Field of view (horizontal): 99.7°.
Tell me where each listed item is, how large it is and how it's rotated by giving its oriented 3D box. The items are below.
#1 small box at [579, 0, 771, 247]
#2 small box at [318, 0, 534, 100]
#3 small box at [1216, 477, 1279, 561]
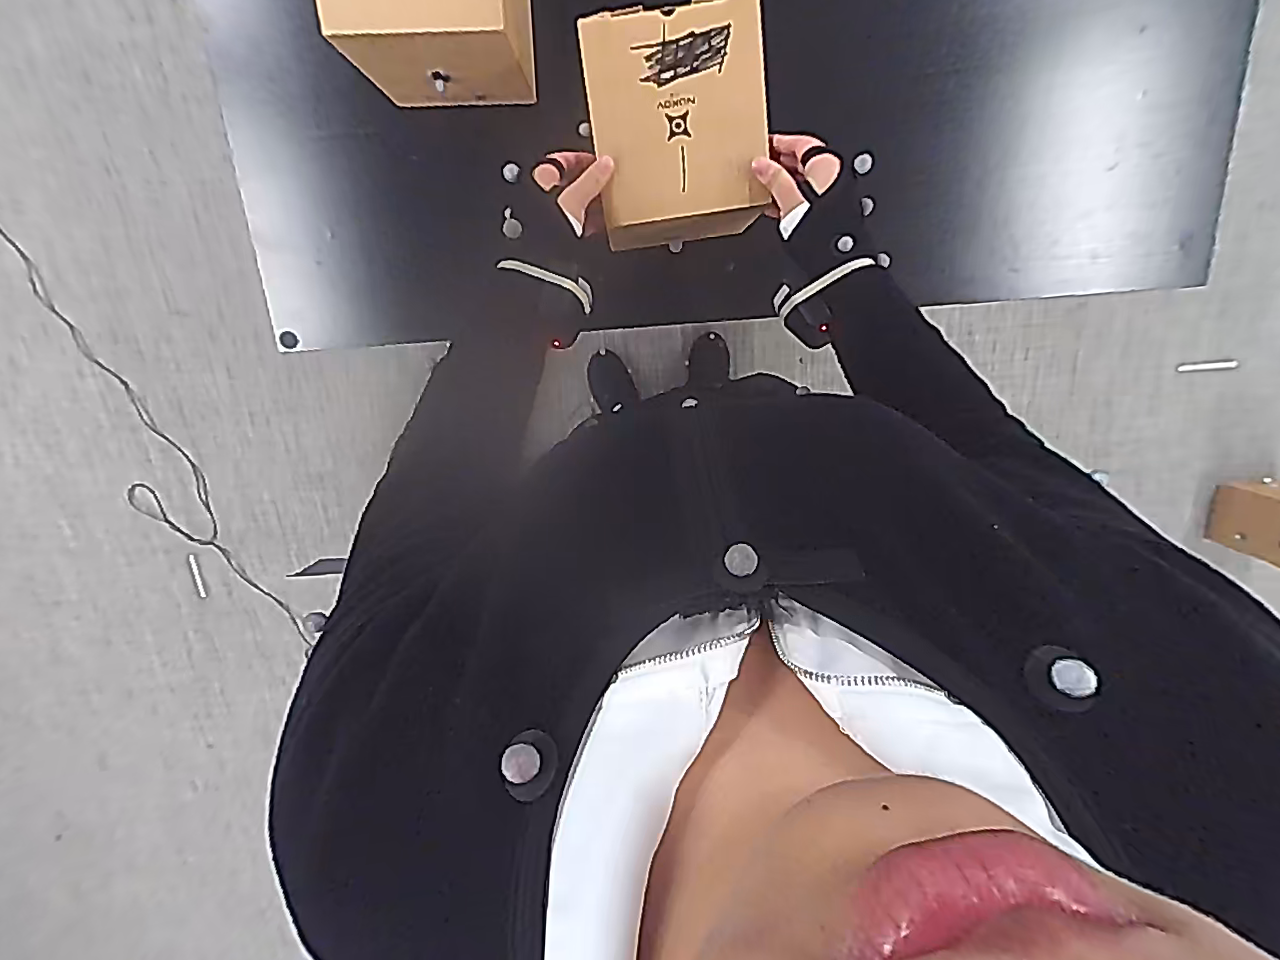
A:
[{"bbox_3d":[0.035,-0.365,0.579,0.168,0.176,0.179,-8,106,3],"label":"small box"},{"bbox_3d":[-0.206,-0.506,0.541,0.168,0.176,0.179,-2,105,0],"label":"small box"},{"bbox_3d":[1.726,0.100,1.455,0.168,0.176,0.179,-5,105,1],"label":"small box"}]
